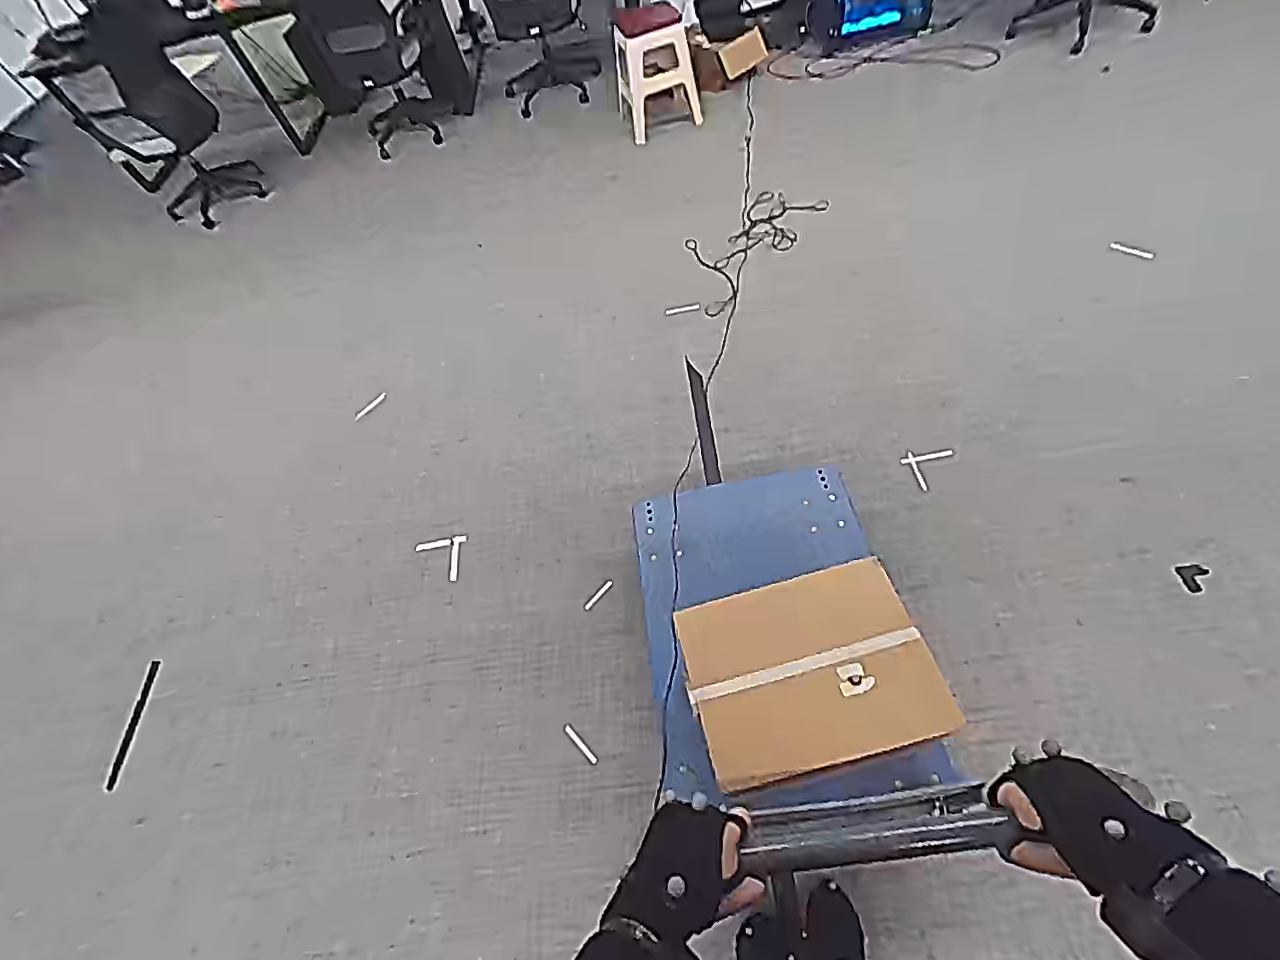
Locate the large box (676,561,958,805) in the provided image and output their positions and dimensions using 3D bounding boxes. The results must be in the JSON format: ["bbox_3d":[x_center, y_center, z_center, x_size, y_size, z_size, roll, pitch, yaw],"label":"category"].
[{"bbox_3d":[0.314,0.414,1.076,0.408,0.320,0.320,-16,56,0],"label":"large box"}]
